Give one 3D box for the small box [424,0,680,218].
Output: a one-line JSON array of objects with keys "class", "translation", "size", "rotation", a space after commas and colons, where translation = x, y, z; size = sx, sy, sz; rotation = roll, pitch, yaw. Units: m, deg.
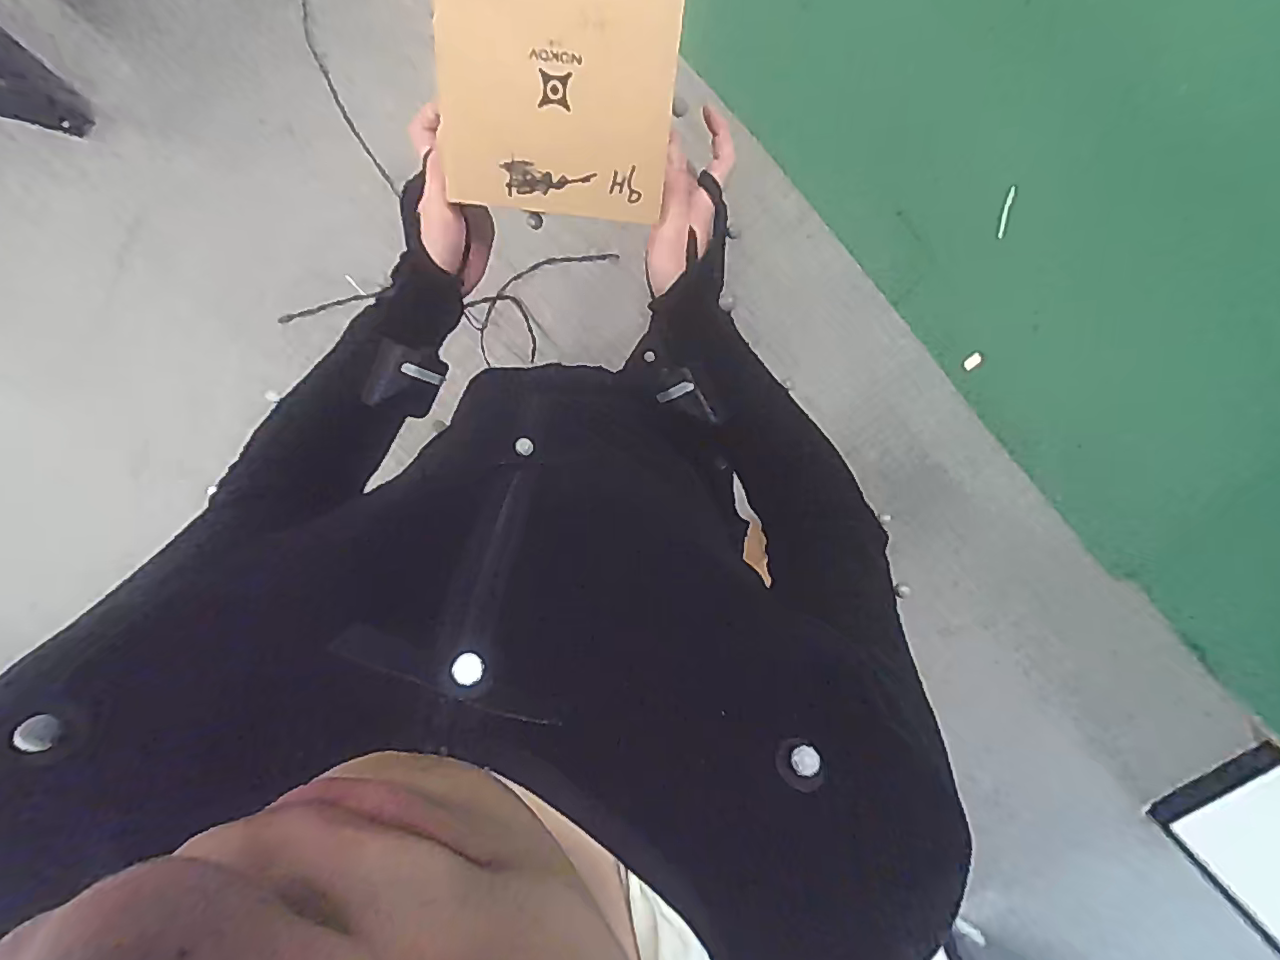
[{"class": "small box", "translation": [-0.060, -0.318, 0.430], "size": [0.168, 0.176, 0.179], "rotation": [5, 119, -2]}]
